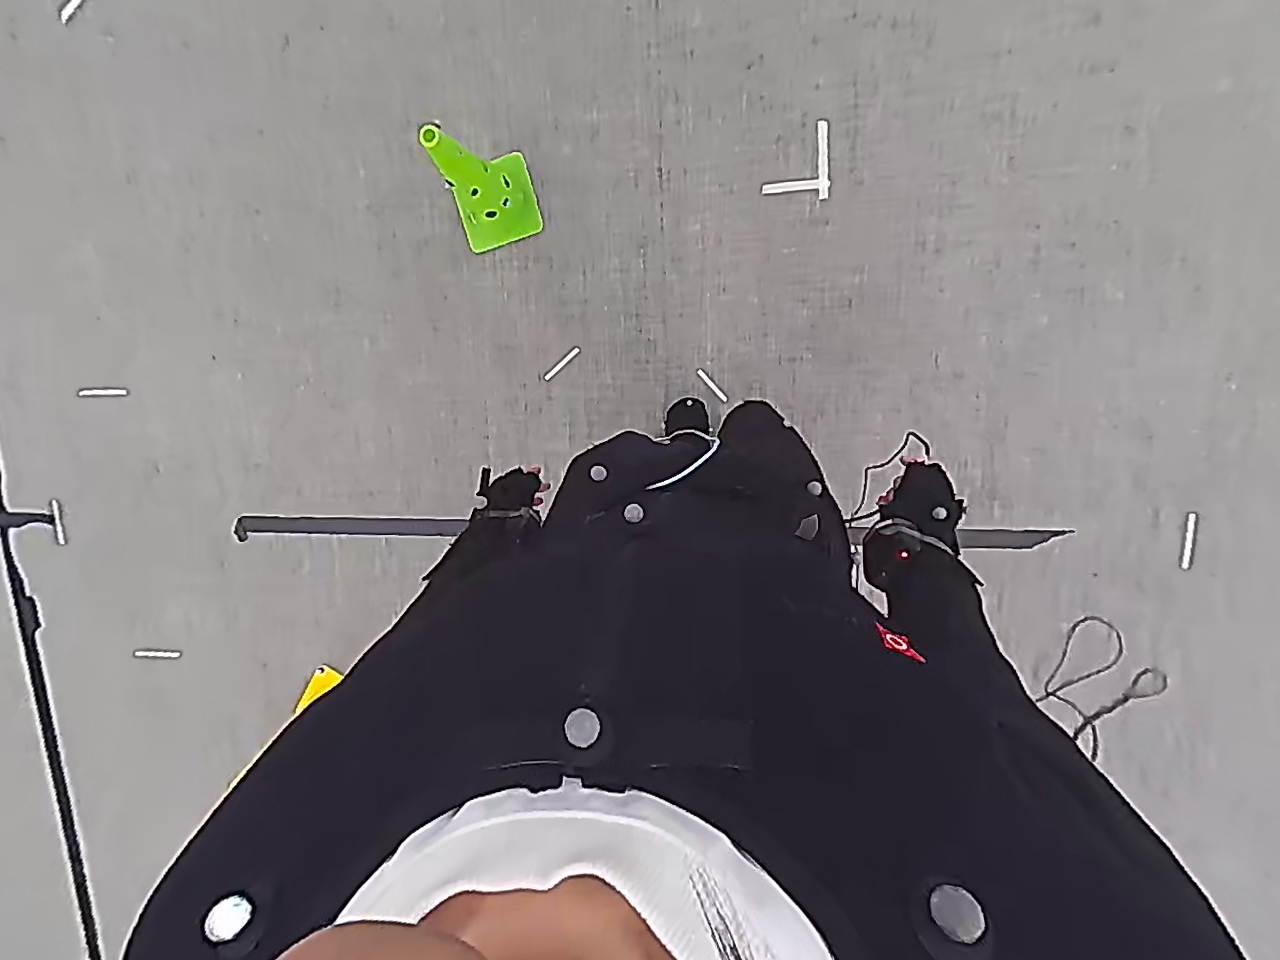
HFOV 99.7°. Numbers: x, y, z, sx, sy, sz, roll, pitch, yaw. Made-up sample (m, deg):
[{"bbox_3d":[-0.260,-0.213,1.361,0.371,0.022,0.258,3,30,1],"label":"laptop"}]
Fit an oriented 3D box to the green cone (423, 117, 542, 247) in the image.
[{"bbox_3d":[-0.377,-0.683,1.191,0.202,0.368,0.200,-16,97,7],"label":"green cone"}]
